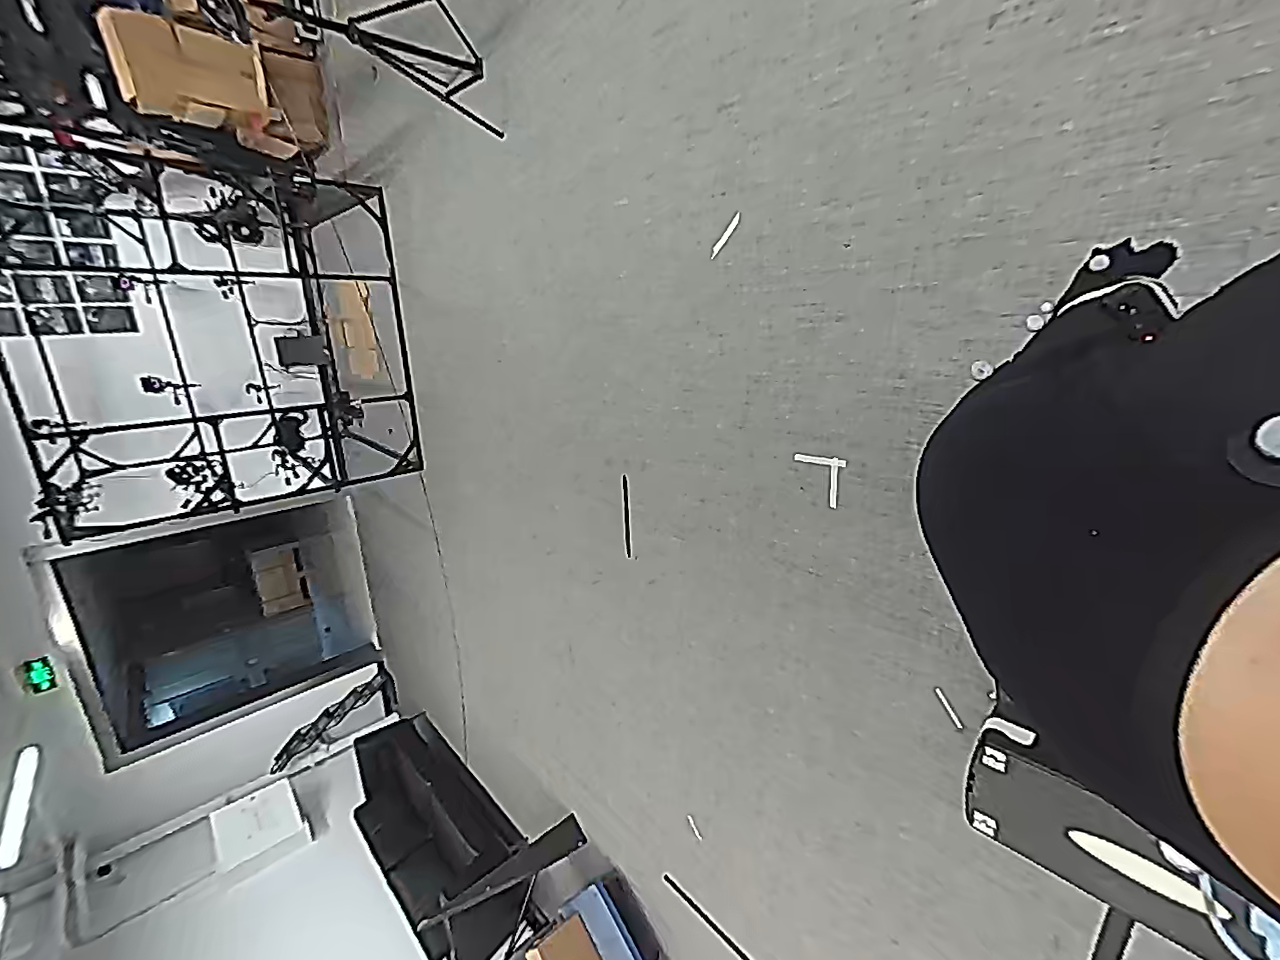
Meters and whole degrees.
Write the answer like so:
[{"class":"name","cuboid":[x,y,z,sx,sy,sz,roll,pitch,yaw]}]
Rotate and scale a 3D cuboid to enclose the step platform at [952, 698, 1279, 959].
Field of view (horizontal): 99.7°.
[{"class":"step platform","cuboid":[1.089,0.782,1.201,0.684,0.204,0.286,15,113,47]}]
